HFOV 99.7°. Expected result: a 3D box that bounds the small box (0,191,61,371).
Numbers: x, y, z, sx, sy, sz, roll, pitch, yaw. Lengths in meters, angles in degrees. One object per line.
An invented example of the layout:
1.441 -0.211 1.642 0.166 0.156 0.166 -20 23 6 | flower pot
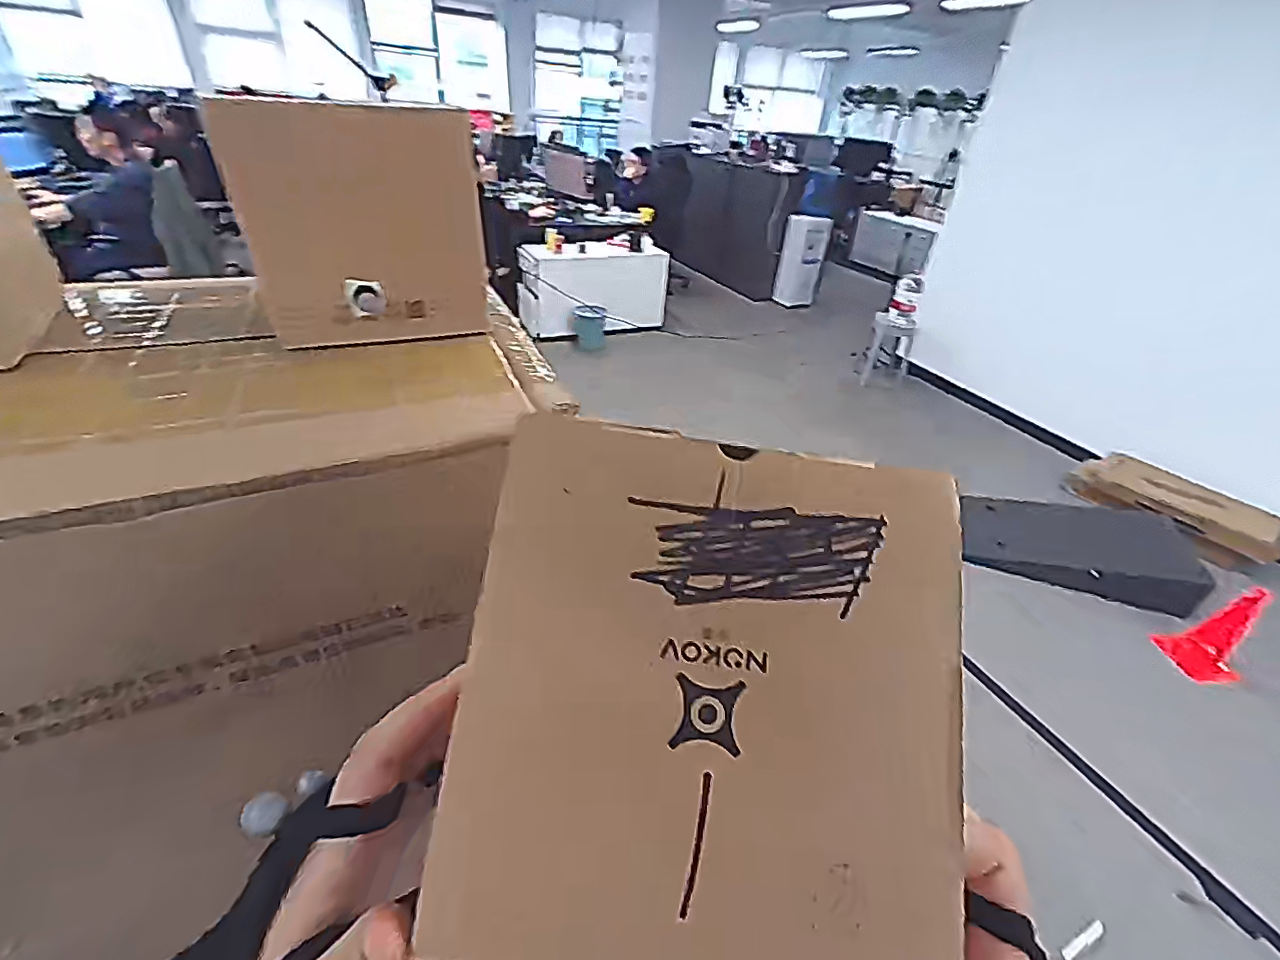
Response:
-0.537 -0.160 0.348 0.168 0.176 0.179 -15 39 -27 | small box

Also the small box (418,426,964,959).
0.024 0.095 0.260 0.168 0.176 0.179 8 73 2 | small box

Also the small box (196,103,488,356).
-0.240 -0.222 0.473 0.168 0.176 0.179 -14 38 -20 | small box
